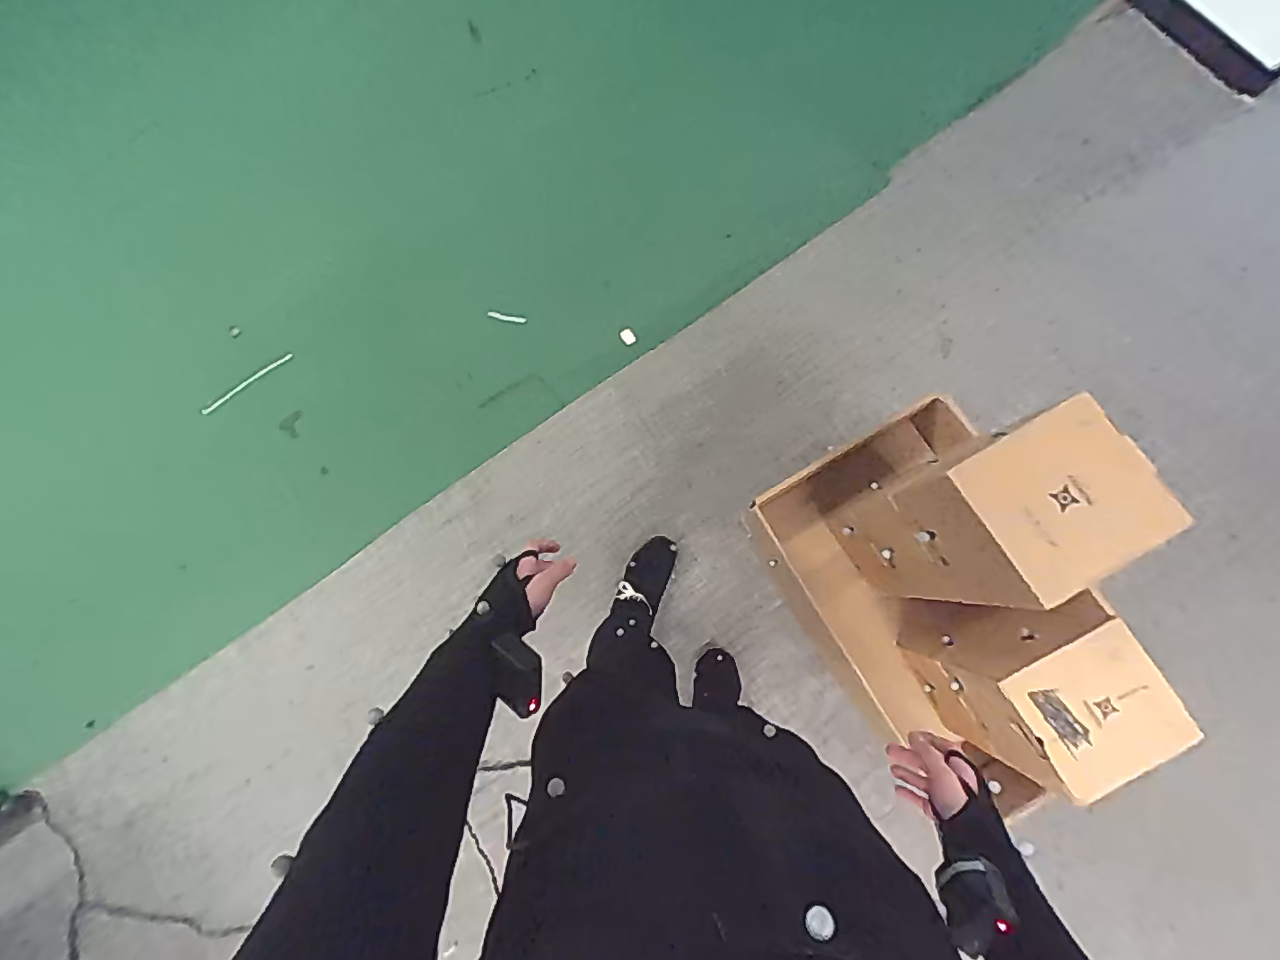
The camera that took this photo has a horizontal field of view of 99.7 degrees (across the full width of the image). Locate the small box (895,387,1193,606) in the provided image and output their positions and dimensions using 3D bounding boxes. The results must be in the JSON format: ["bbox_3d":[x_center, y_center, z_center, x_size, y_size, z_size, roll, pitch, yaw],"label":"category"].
[{"bbox_3d":[0.434,0.025,0.618,0.179,0.176,0.168,-30,79,-1],"label":"small box"}]

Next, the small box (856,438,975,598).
[{"bbox_3d":[0.448,0.053,0.777,0.179,0.176,0.168,-30,78,-1],"label":"small box"}]

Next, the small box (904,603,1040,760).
[{"bbox_3d":[0.578,0.316,0.889,0.179,0.176,0.168,-30,79,0],"label":"small box"}]

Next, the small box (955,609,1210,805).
[{"bbox_3d":[0.564,0.288,0.727,0.179,0.176,0.168,-29,79,0],"label":"small box"}]
